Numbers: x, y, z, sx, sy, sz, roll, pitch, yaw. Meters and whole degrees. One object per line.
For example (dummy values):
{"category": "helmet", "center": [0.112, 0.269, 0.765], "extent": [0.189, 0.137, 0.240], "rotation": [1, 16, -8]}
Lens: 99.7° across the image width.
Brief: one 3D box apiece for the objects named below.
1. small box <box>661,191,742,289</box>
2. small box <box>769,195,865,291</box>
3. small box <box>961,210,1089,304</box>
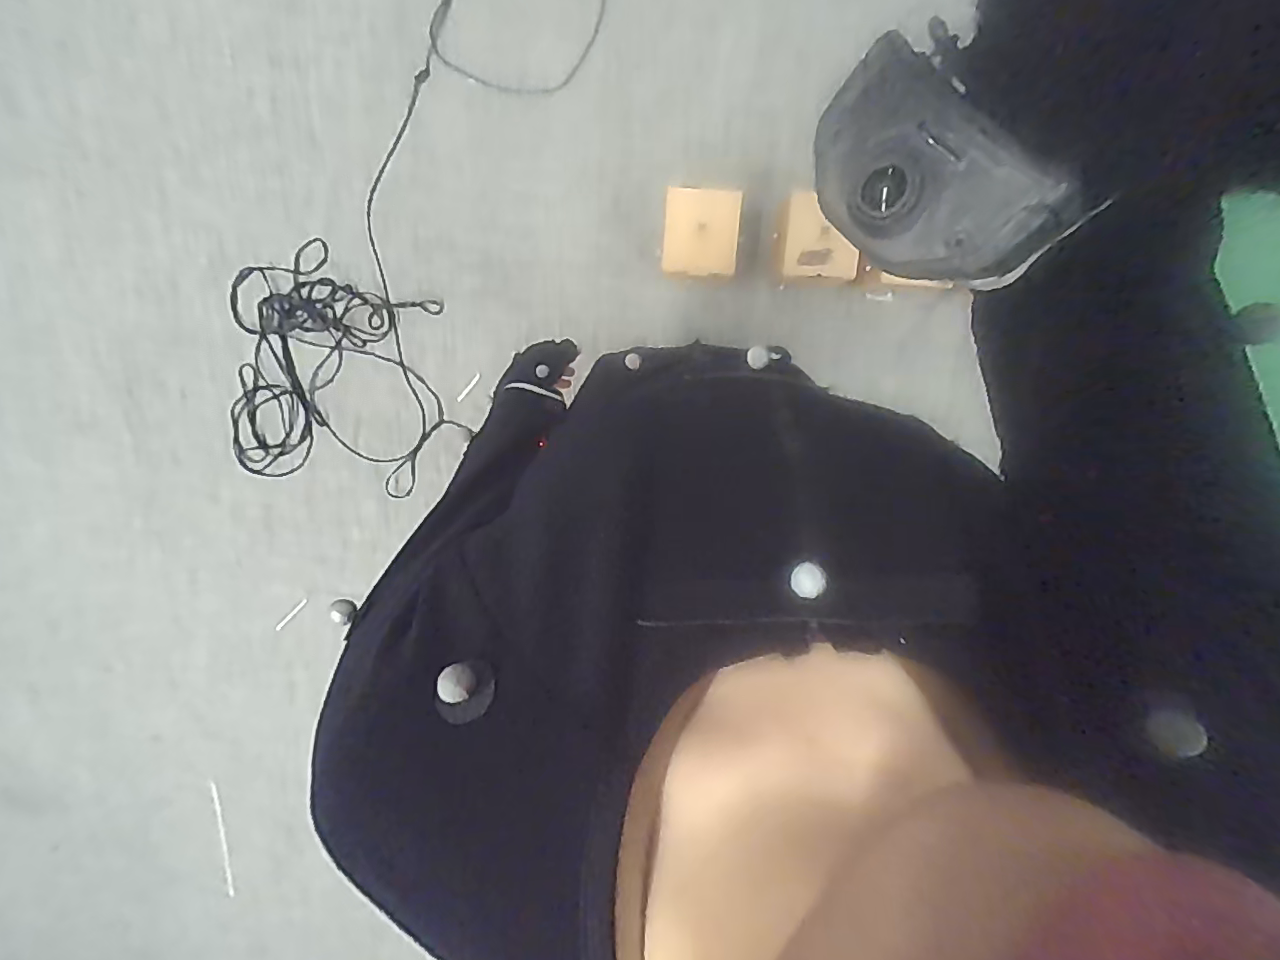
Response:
{"category": "small box", "center": [0.138, -0.556, 1.272], "extent": [0.168, 0.176, 0.179], "rotation": [4, 103, 1]}
{"category": "small box", "center": [0.403, -0.545, 1.264], "extent": [0.168, 0.176, 0.179], "rotation": [4, 102, 1]}
{"category": "small box", "center": [0.884, -0.512, 1.261], "extent": [0.168, 0.176, 0.179], "rotation": [4, 103, 0]}
